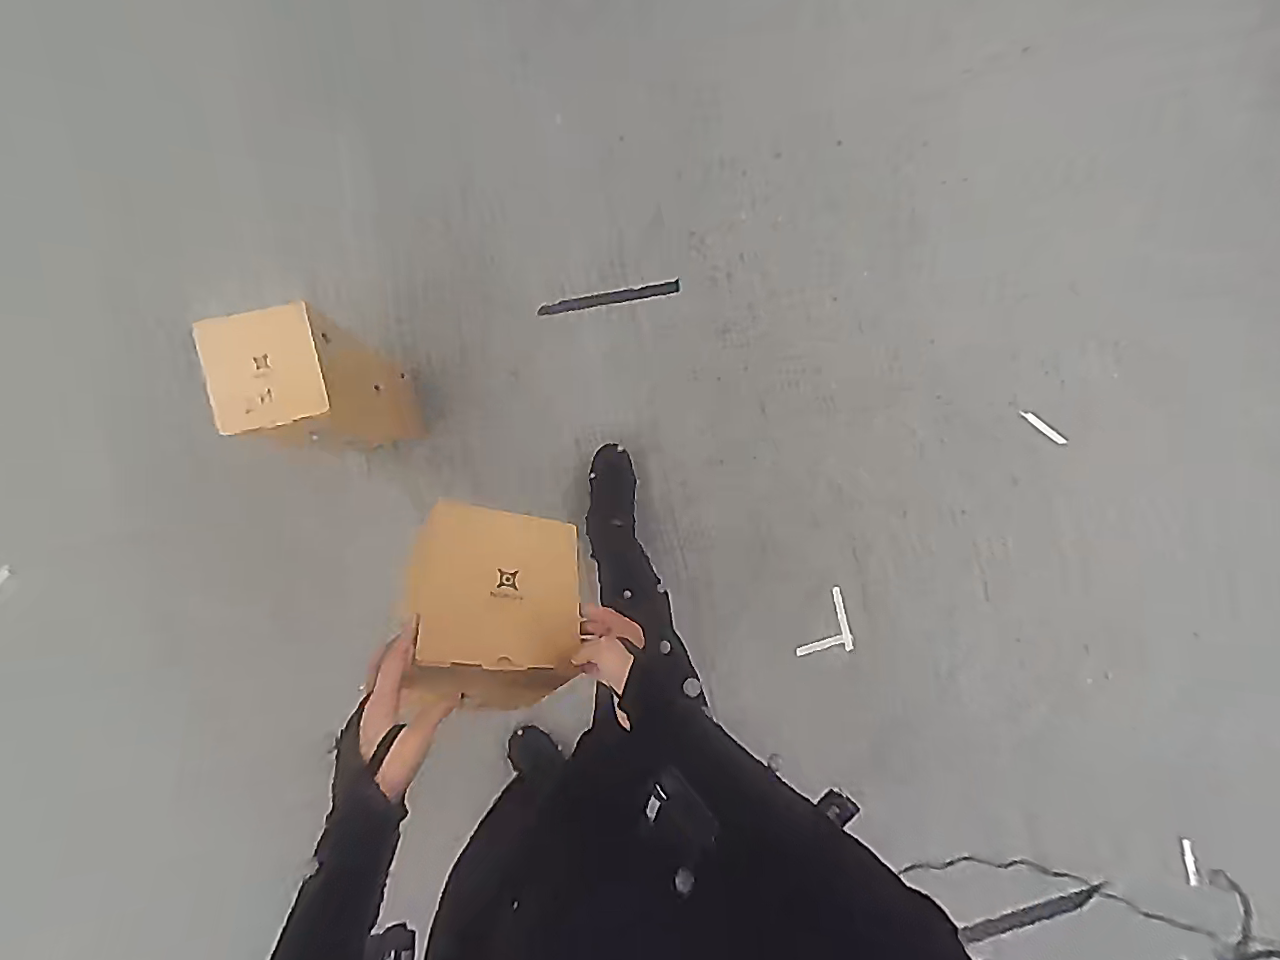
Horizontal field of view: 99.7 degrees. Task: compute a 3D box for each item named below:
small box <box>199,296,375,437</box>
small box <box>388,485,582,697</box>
[{"bbox_3d":[-0.565,-0.177,0.888,0.168,0.176,0.179,-13,92,-5],"label":"small box"},{"bbox_3d":[-0.180,0.136,0.627,0.168,0.176,0.179,15,50,-28],"label":"small box"}]
